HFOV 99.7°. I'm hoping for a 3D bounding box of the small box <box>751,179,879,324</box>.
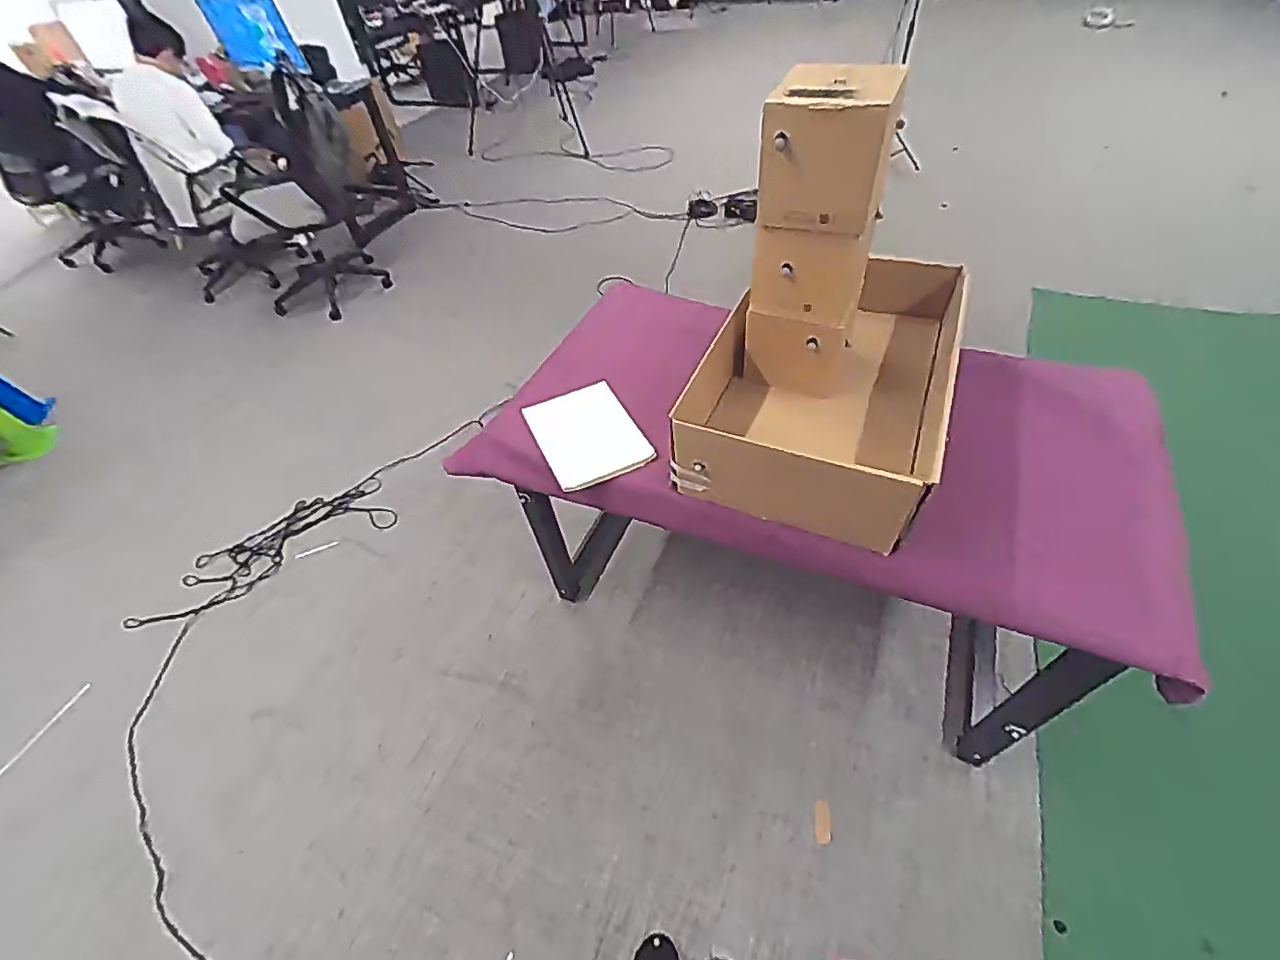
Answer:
[{"bbox_3d":[0.300,-0.398,0.947,0.168,0.176,0.179,18,55,21],"label":"small box"}]
